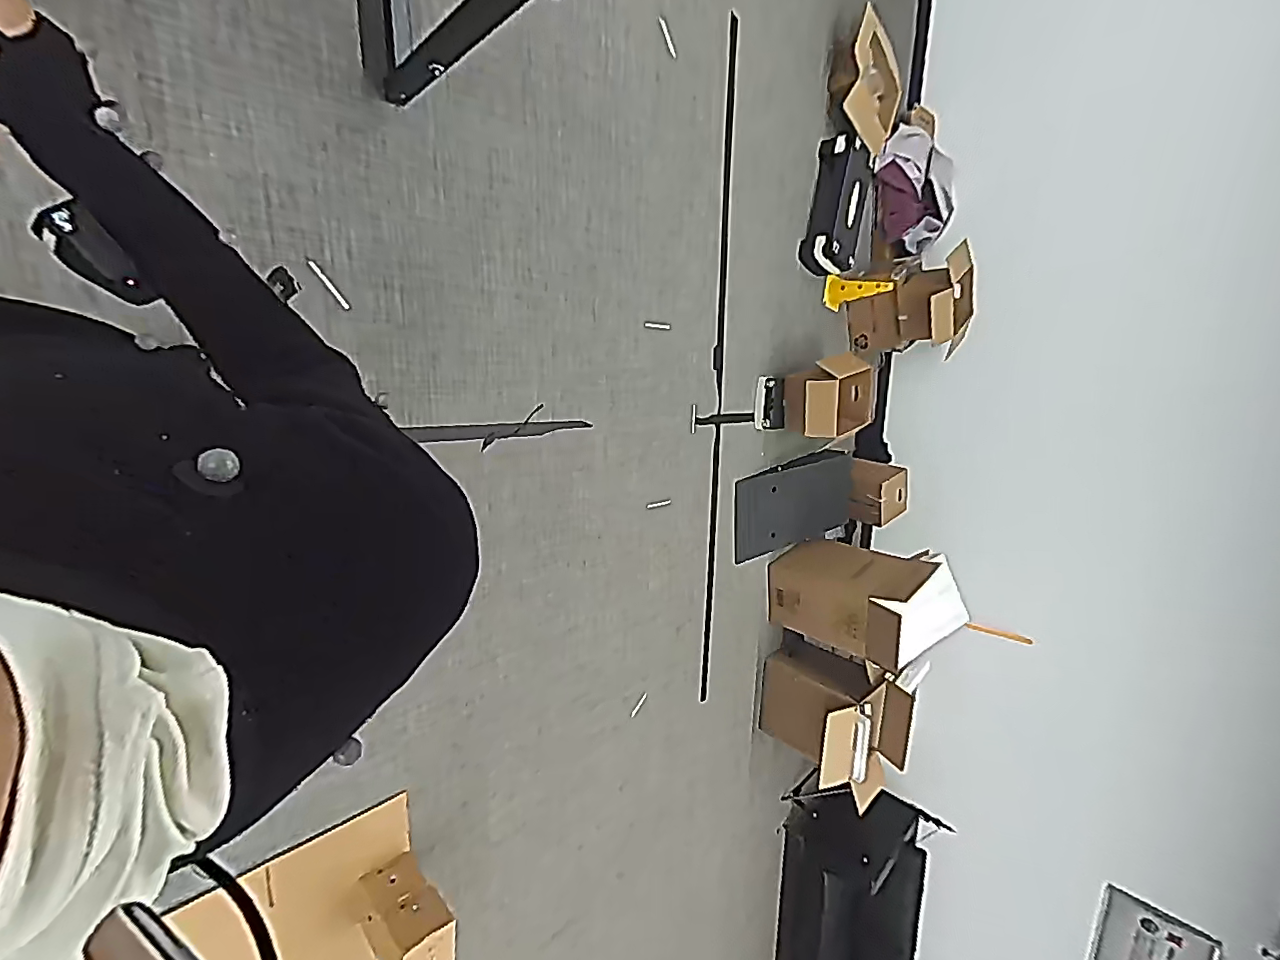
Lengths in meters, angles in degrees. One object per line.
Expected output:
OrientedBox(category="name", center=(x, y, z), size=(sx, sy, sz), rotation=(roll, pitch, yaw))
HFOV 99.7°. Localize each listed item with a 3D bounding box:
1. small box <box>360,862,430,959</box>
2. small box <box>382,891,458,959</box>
OrientedBox(category="small box", center=(-0.803, 1.400, 1.770), size=(0.168, 0.176, 0.179), rotation=(-7, 103, -45))
OrientedBox(category="small box", center=(-0.679, 1.432, 1.664), size=(0.168, 0.176, 0.179), rotation=(-6, 103, -46))
